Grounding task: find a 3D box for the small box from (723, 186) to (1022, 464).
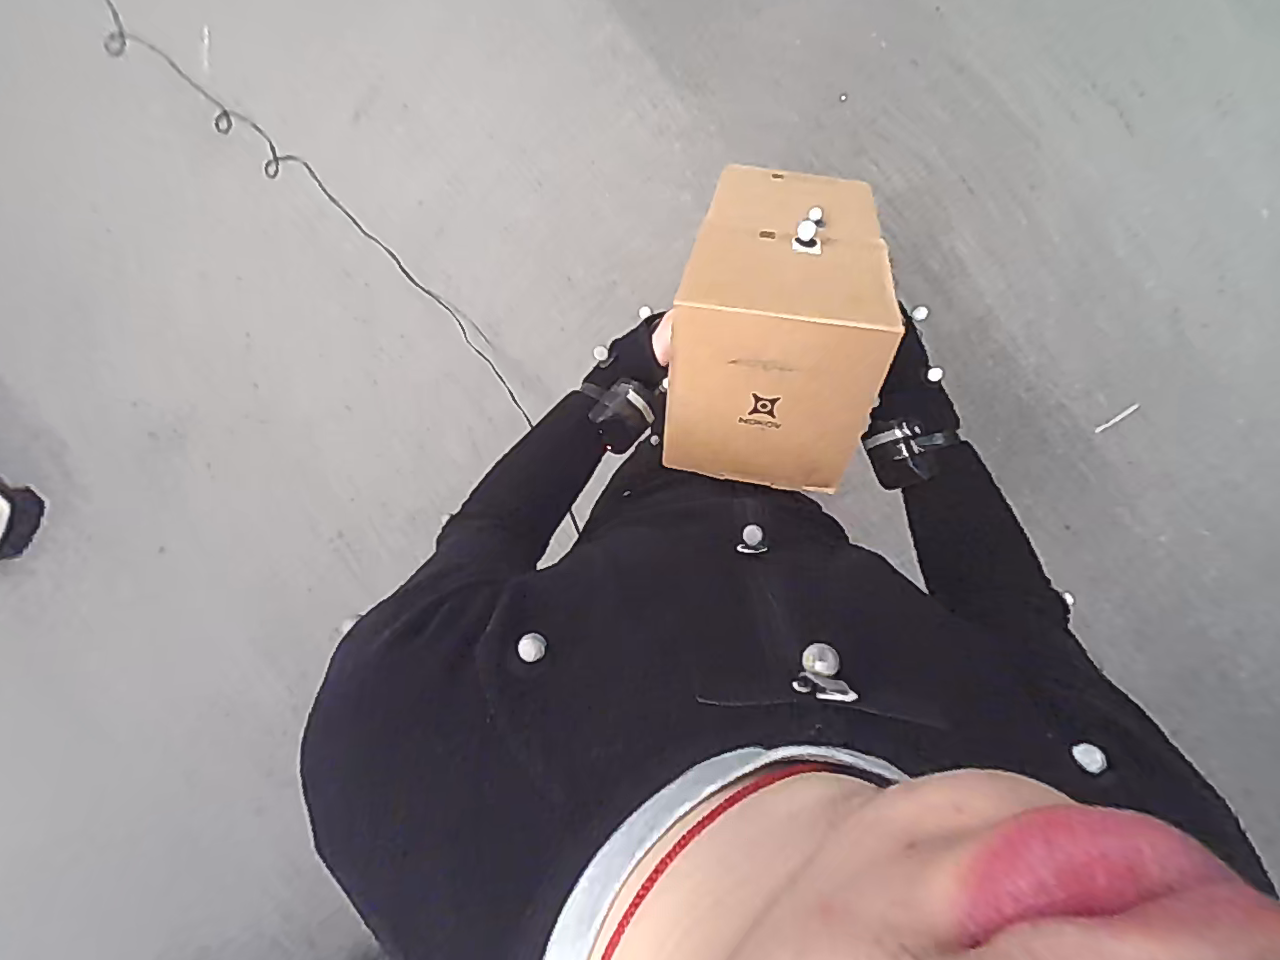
[{"bbox_3d":[0.210,-0.150,0.525,0.179,0.168,0.176,23,120,-19],"label":"small box"}]
